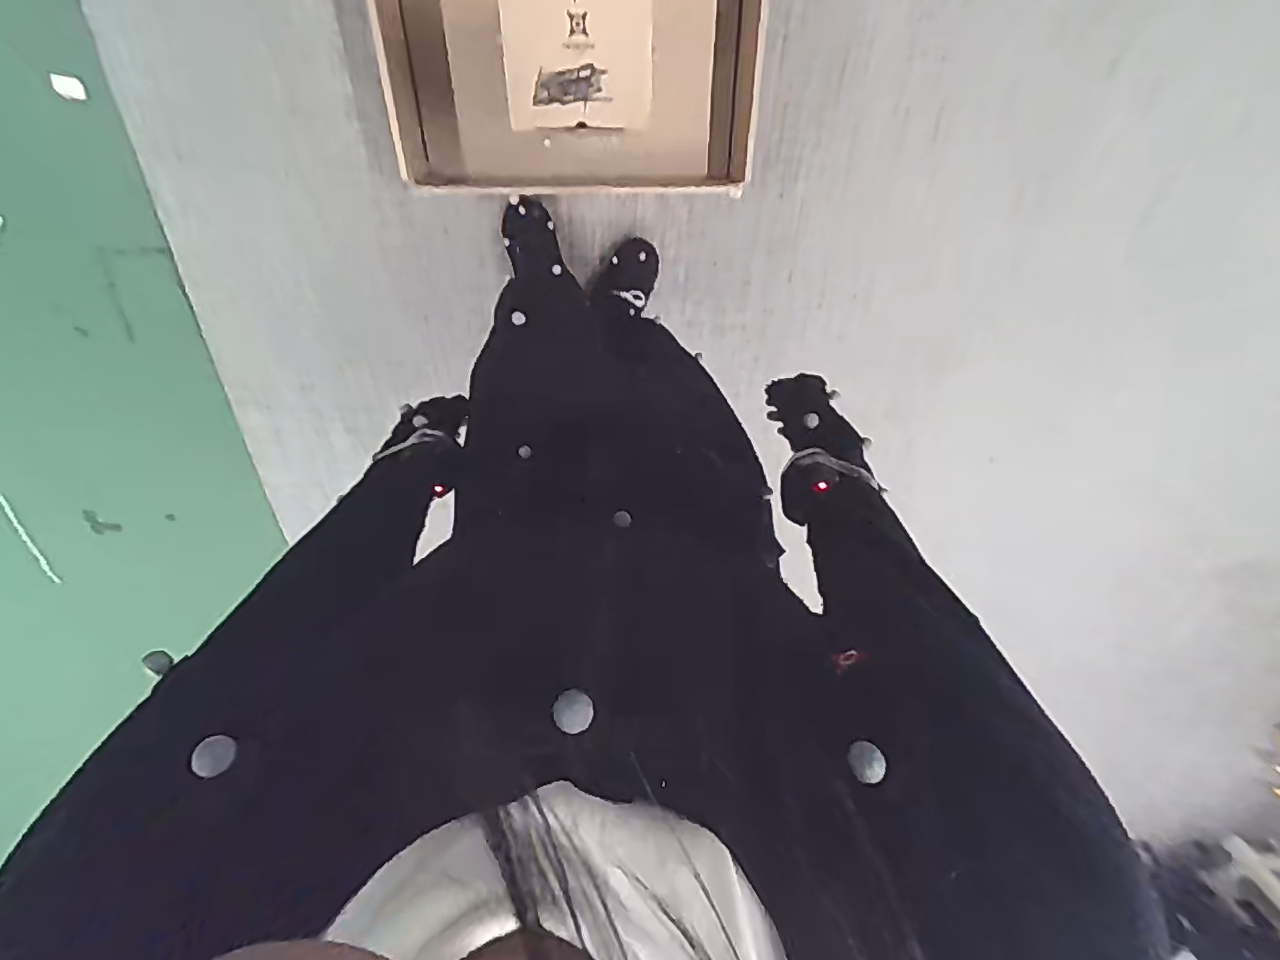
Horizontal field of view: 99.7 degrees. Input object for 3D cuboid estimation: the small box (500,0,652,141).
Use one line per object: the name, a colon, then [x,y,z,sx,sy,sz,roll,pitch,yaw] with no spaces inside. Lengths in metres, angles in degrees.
small box: [-0.073,-0.523,0.665,0.168,0.176,0.179,-2,120,-4]
